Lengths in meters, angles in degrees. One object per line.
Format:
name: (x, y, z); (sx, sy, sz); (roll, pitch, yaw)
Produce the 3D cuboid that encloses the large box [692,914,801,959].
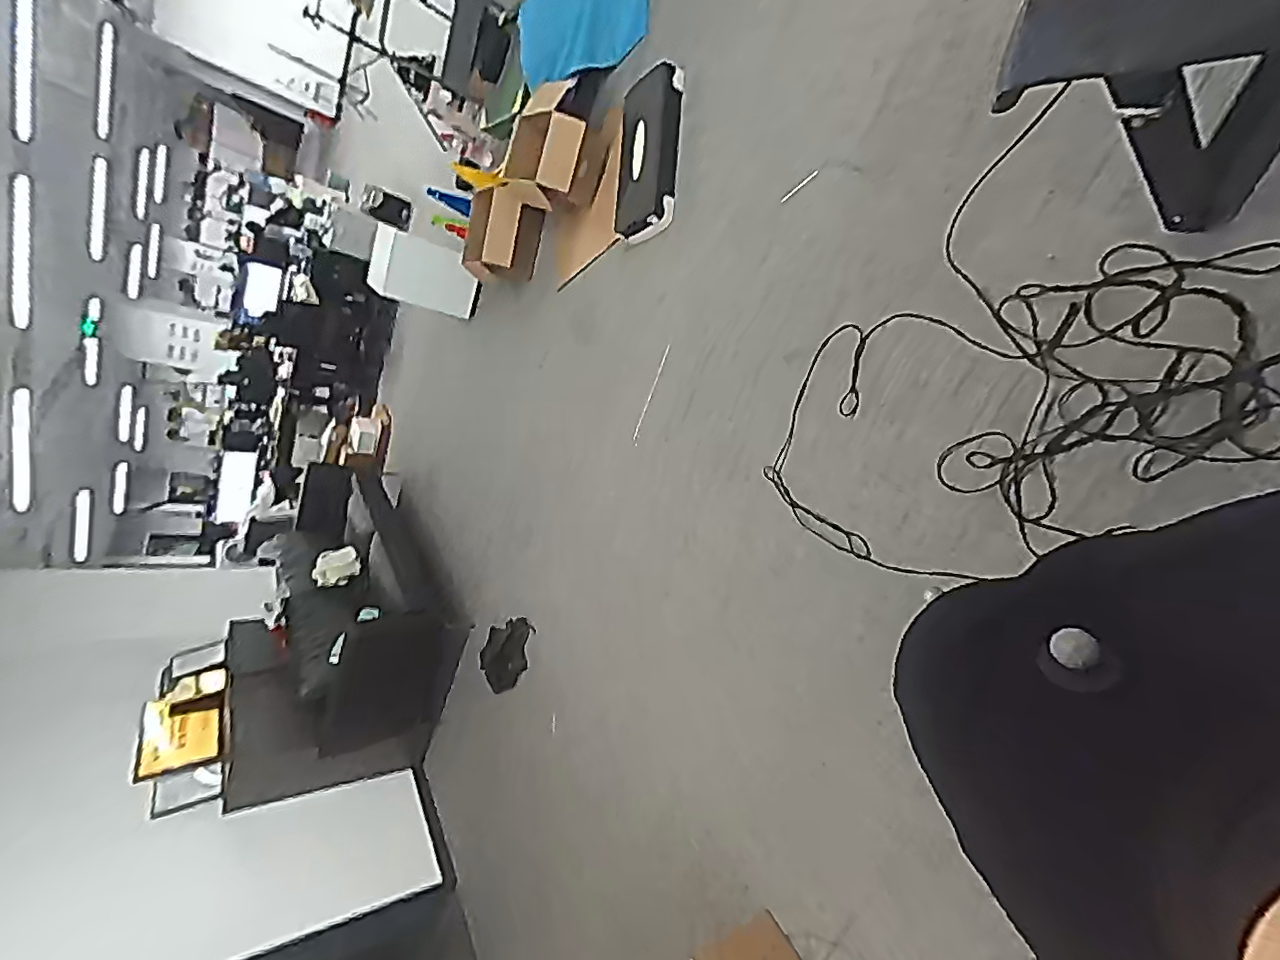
large box: (0.310, 1.460, 1.380); (0.408, 0.320, 0.320); (41, 115, 47)
